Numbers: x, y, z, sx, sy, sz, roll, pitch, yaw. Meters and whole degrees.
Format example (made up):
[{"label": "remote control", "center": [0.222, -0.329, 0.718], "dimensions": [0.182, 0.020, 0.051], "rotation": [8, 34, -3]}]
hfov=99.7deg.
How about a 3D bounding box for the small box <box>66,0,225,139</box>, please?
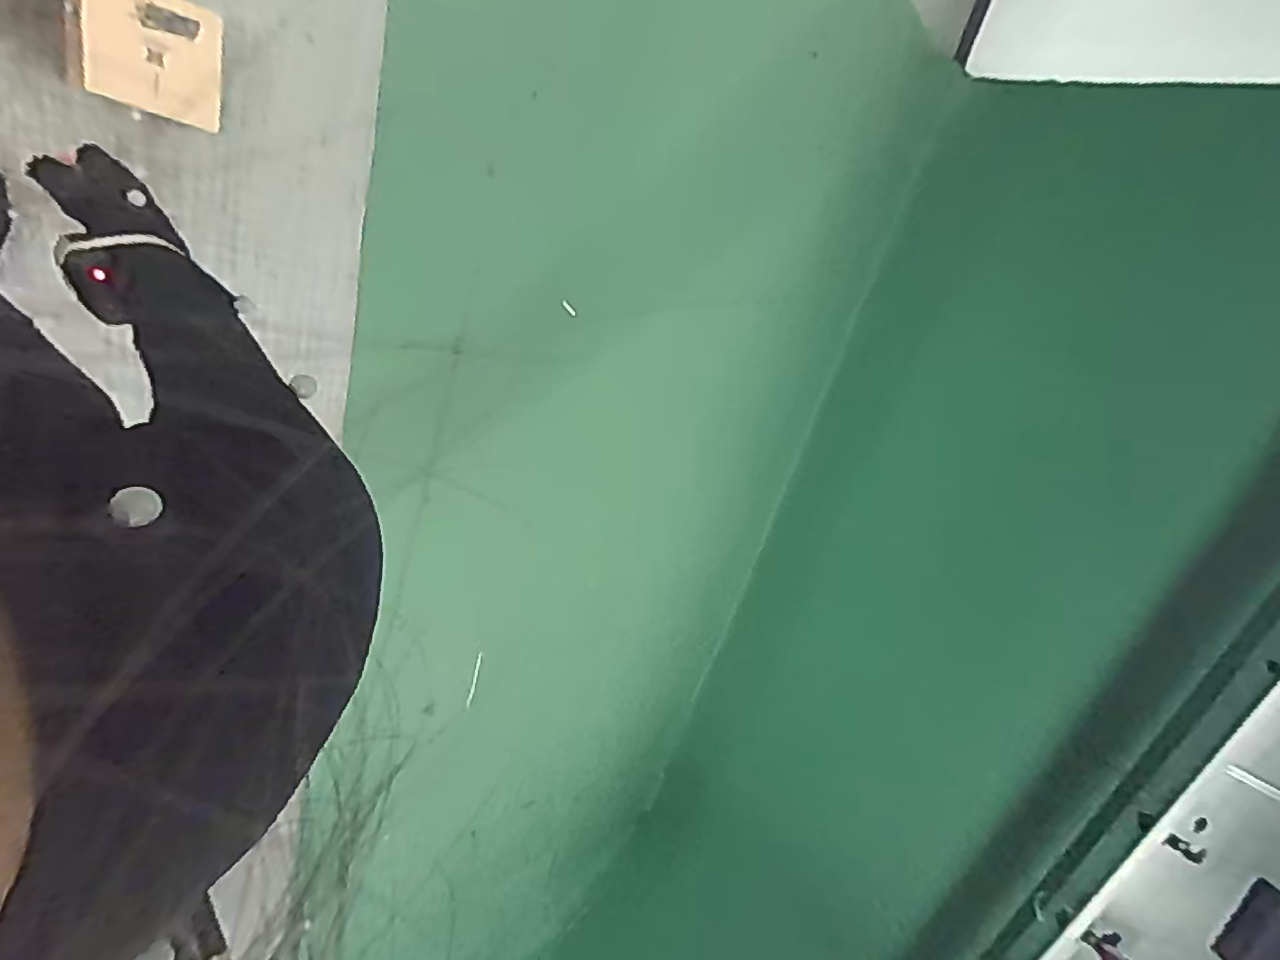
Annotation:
[{"label": "small box", "center": [-0.807, -0.693, 0.884], "dimensions": [0.168, 0.176, 0.179], "rotation": [-8, 122, -51]}]
